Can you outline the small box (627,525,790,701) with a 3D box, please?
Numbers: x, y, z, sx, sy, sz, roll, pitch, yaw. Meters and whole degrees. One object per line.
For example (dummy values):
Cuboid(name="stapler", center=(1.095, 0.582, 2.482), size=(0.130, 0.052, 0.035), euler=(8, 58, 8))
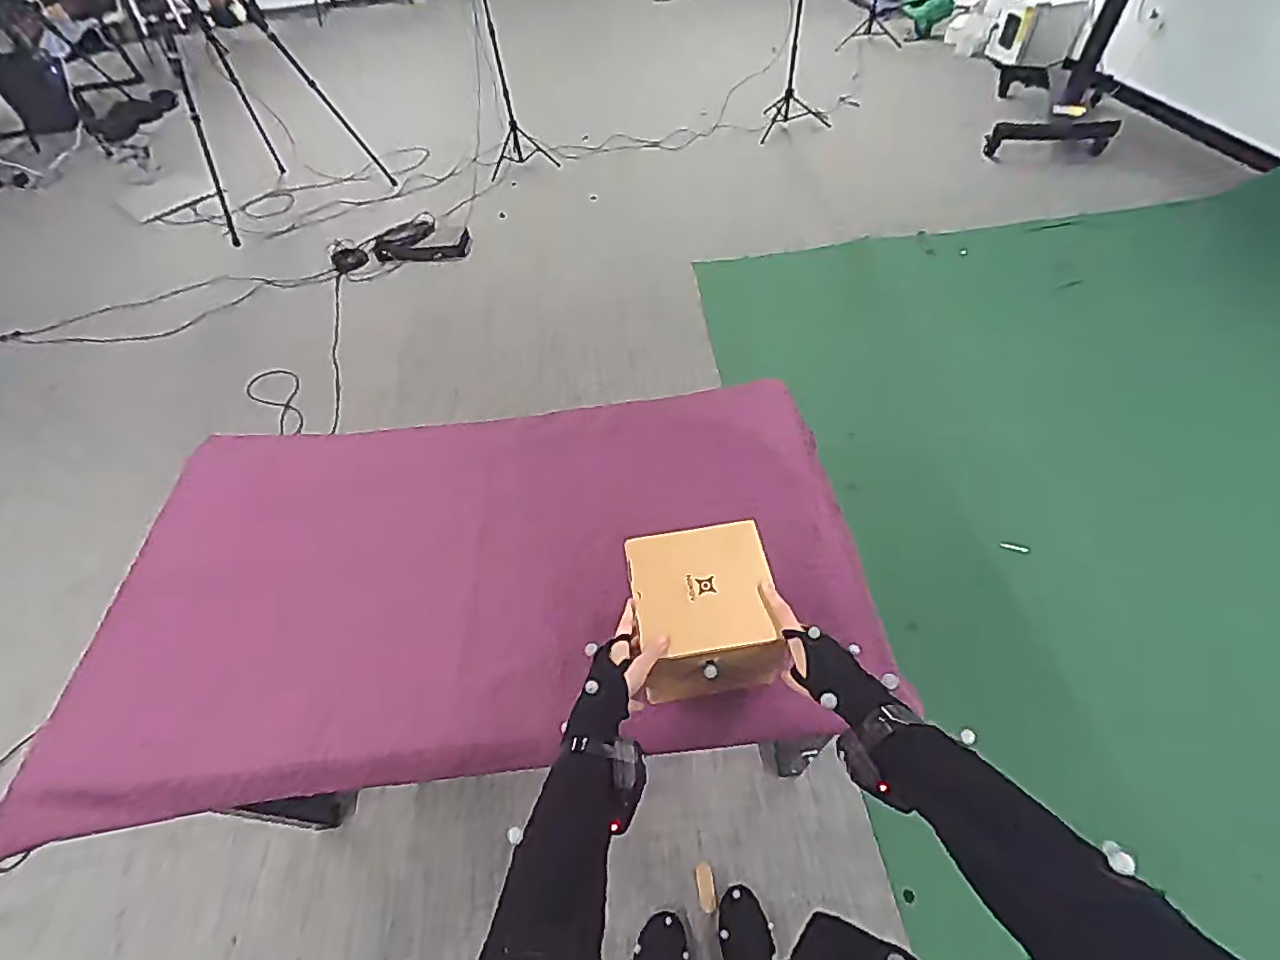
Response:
Cuboid(name="small box", center=(0.084, 0.183, 0.731), size=(0.179, 0.176, 0.168), euler=(-10, 53, 0))
